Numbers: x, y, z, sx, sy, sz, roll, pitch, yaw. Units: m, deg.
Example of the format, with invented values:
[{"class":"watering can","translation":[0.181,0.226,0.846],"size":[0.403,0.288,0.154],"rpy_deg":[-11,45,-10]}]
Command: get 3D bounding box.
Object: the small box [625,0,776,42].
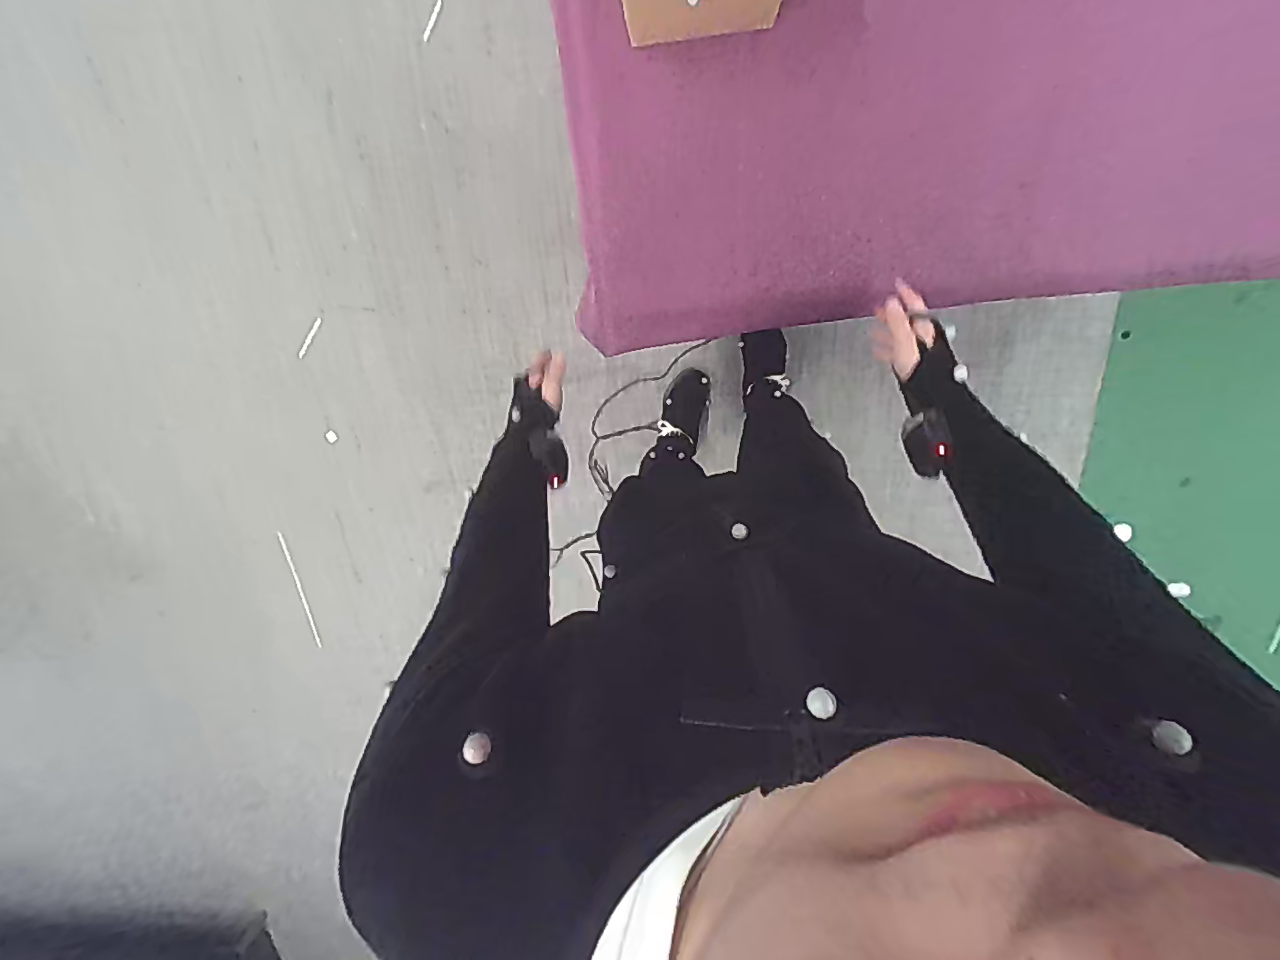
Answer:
[{"class":"small box","translation":[0.063,-0.592,0.561],"size":[0.179,0.176,0.168],"rpy_deg":[-4,111,6]}]
